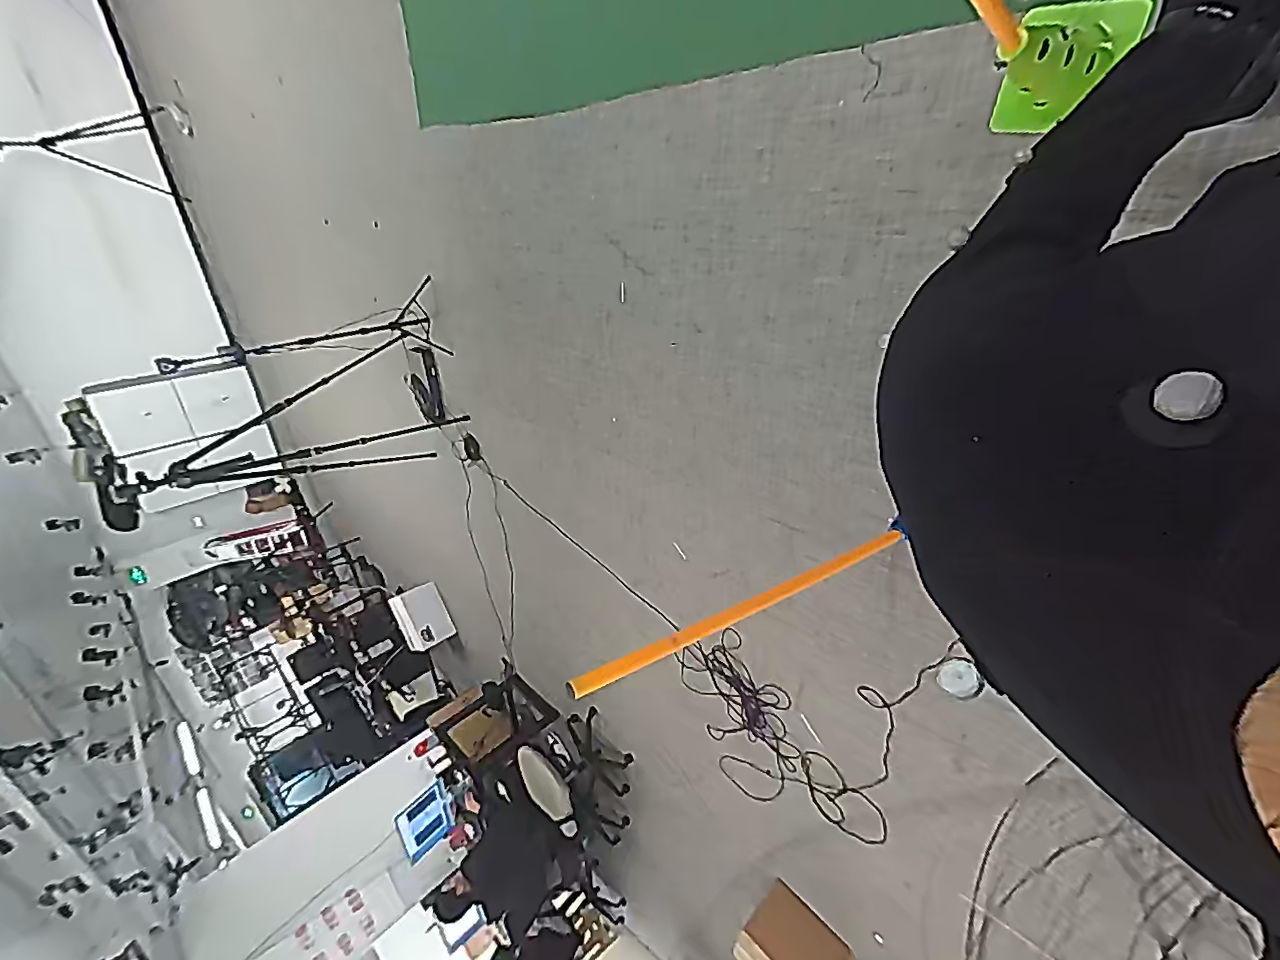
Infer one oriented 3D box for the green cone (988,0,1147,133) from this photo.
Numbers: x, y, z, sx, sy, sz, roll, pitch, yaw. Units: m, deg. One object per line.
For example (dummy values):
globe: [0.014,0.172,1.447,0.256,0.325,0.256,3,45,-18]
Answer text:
green cone: [0.686,-0.728,0.932,0.202,0.368,0.200,29,130,37]
